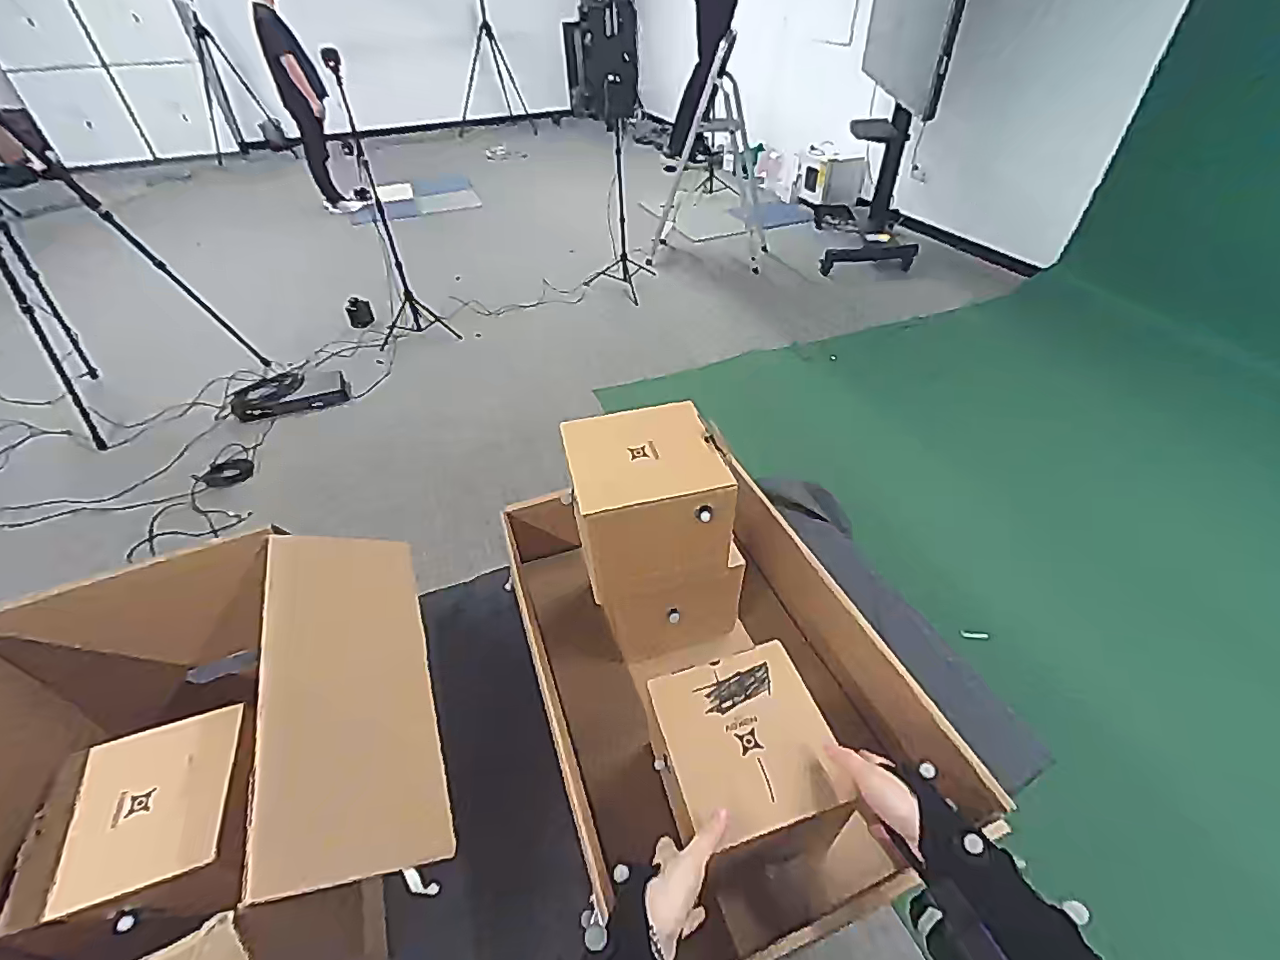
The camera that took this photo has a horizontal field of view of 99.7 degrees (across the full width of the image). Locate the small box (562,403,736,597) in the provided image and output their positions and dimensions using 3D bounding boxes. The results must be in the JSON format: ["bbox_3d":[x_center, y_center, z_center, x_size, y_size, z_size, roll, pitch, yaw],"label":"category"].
[{"bbox_3d":[0.007,0.027,0.689,0.179,0.176,0.168,-11,45,-10],"label":"small box"}]
